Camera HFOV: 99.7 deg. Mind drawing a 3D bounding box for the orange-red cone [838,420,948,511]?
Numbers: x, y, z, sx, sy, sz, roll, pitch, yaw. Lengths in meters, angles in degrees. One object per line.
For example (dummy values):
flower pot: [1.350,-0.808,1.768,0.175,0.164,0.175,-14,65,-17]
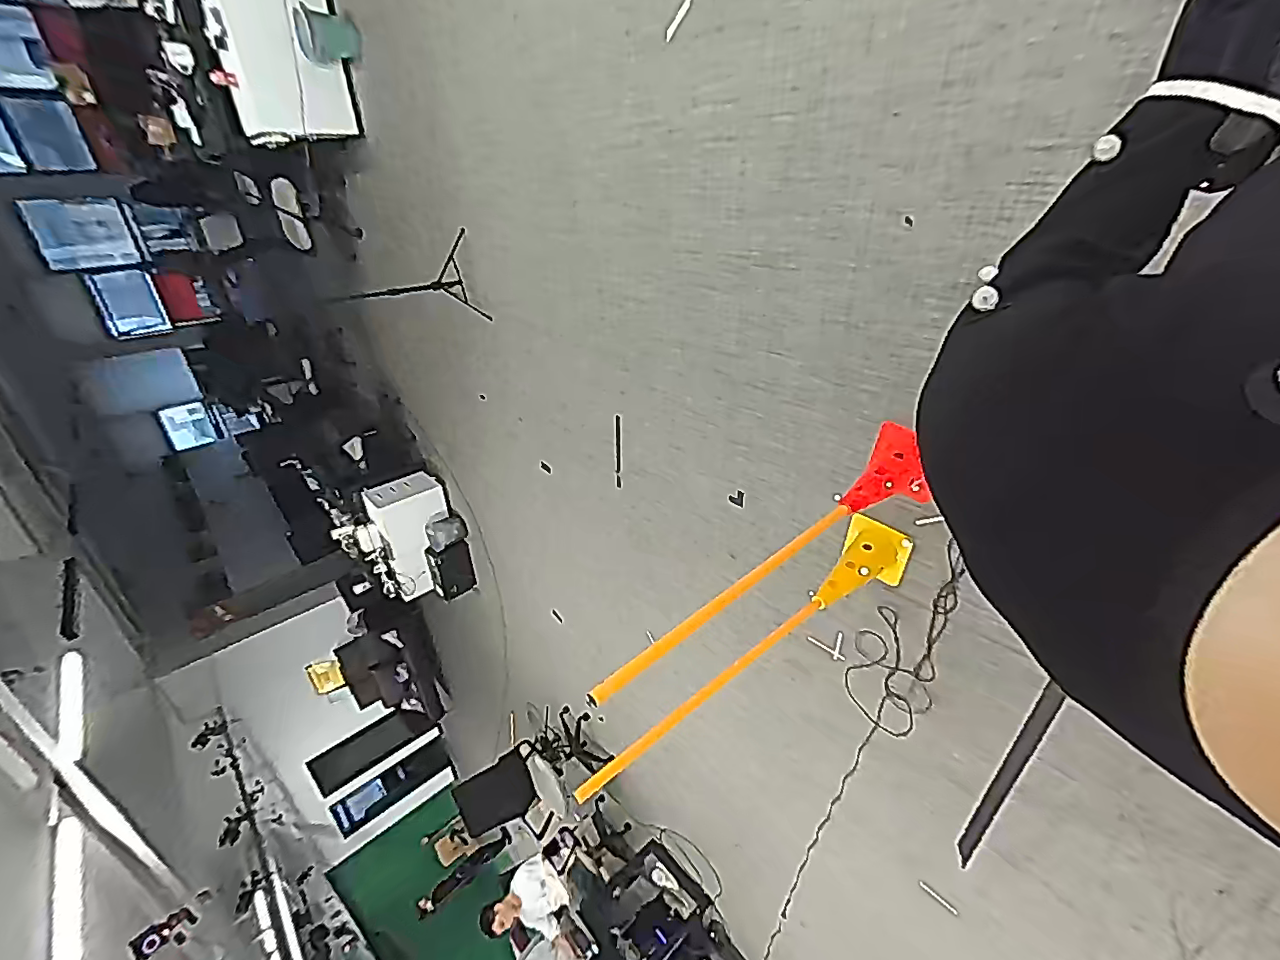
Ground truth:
orange-red cone: [0.639,0.000,1.460,0.198,0.360,0.199,34,133,34]
